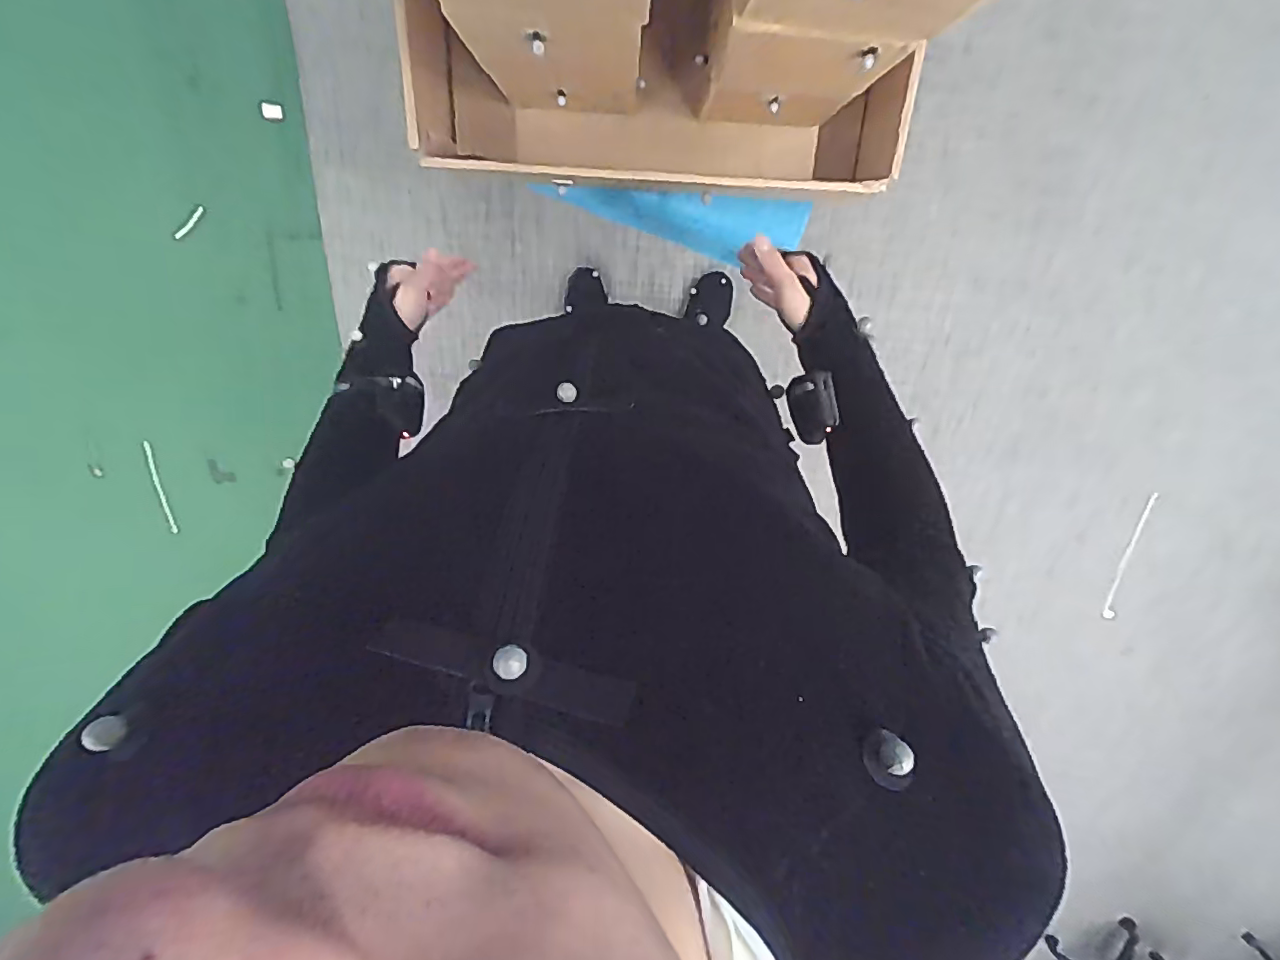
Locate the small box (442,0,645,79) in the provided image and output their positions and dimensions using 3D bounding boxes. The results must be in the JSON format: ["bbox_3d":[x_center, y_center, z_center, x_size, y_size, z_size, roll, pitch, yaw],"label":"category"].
[{"bbox_3d":[-0.081,-0.505,0.511,0.179,0.176,0.168,2,112,-3],"label":"small box"}]
